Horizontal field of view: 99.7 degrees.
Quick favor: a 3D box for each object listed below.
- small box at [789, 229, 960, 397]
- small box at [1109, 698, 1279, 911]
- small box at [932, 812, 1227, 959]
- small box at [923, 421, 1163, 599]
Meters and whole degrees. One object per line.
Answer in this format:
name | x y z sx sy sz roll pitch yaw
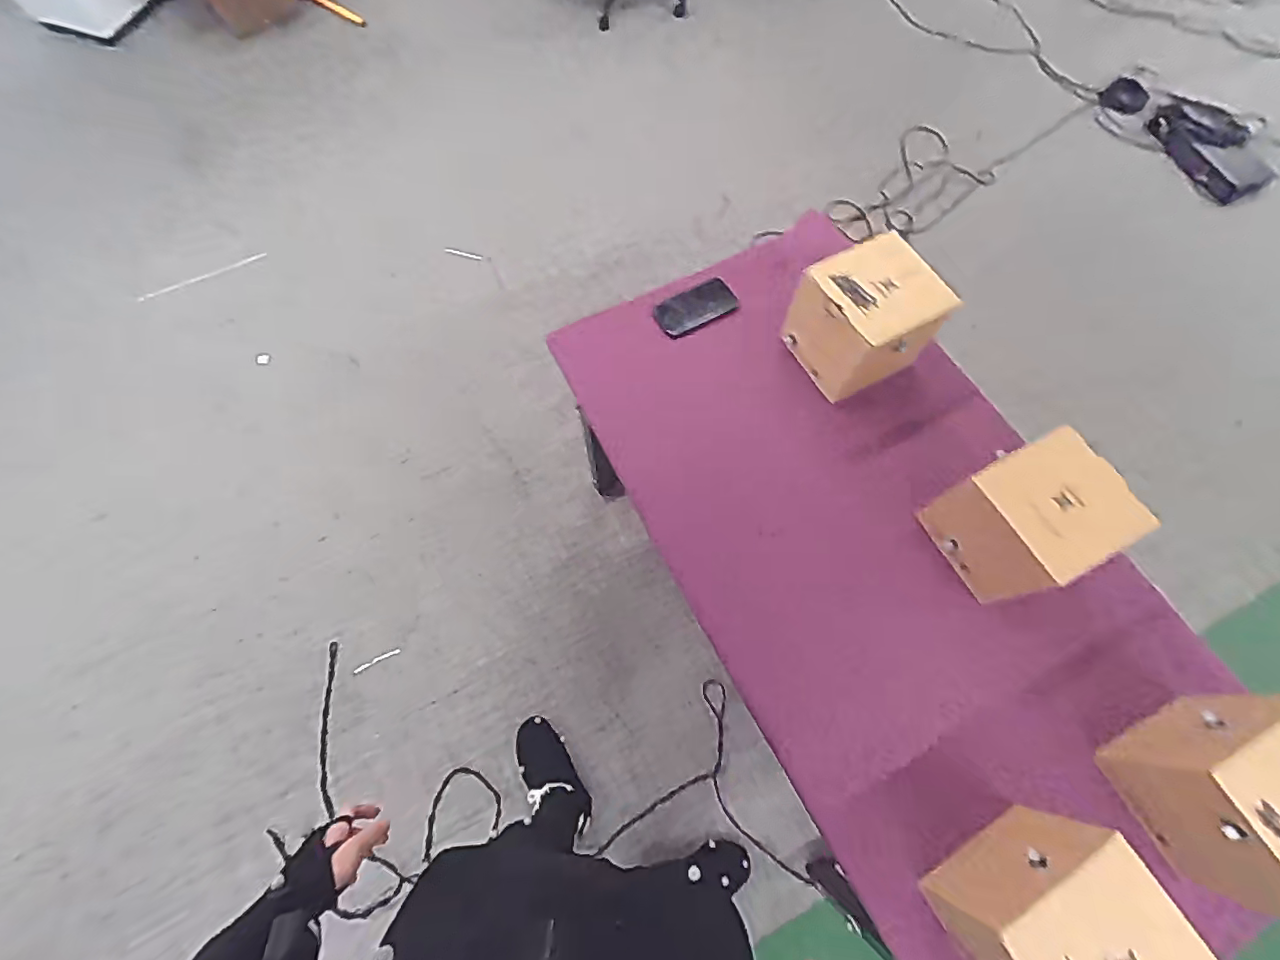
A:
small box | 0.366 -0.265 0.889 0.179 0.176 0.168 -27 71 -11
small box | 0.731 0.372 0.640 0.179 0.176 0.168 -25 70 -10
small box | 0.466 0.496 0.586 0.179 0.176 0.168 -28 70 -10
small box | 0.550 0.050 0.768 0.179 0.176 0.168 -26 70 -9
